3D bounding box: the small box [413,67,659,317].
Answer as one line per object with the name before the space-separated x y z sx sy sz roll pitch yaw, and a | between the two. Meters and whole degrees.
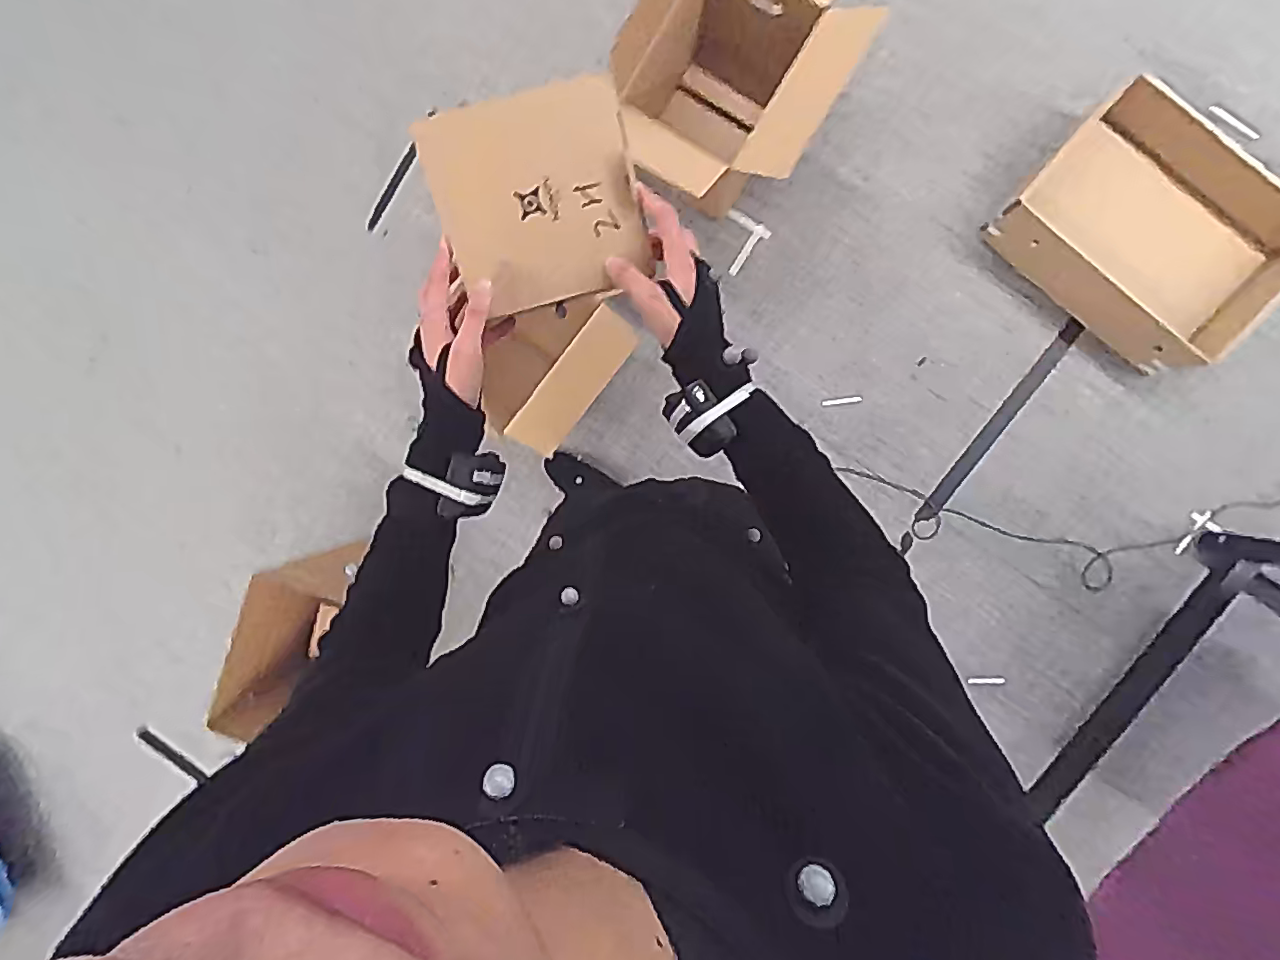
small box | -0.091 -0.264 0.538 0.179 0.176 0.168 -16 109 -2
